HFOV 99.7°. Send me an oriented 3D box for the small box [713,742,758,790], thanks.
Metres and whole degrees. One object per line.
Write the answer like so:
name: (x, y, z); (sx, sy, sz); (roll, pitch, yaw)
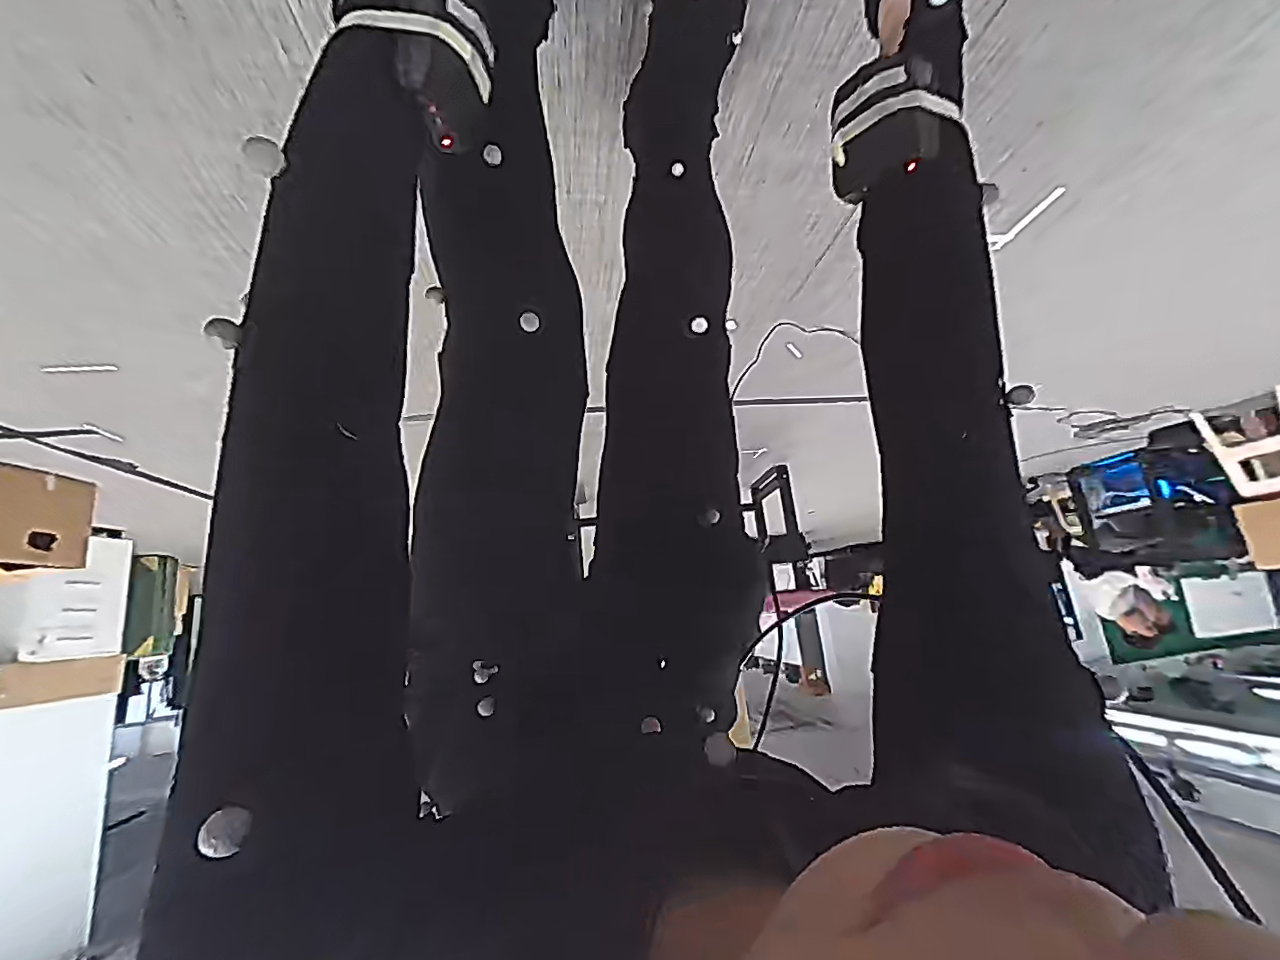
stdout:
small box: (0.461, 1.385, 2.633); (0.179, 0.176, 0.168); (-3, 166, -3)
